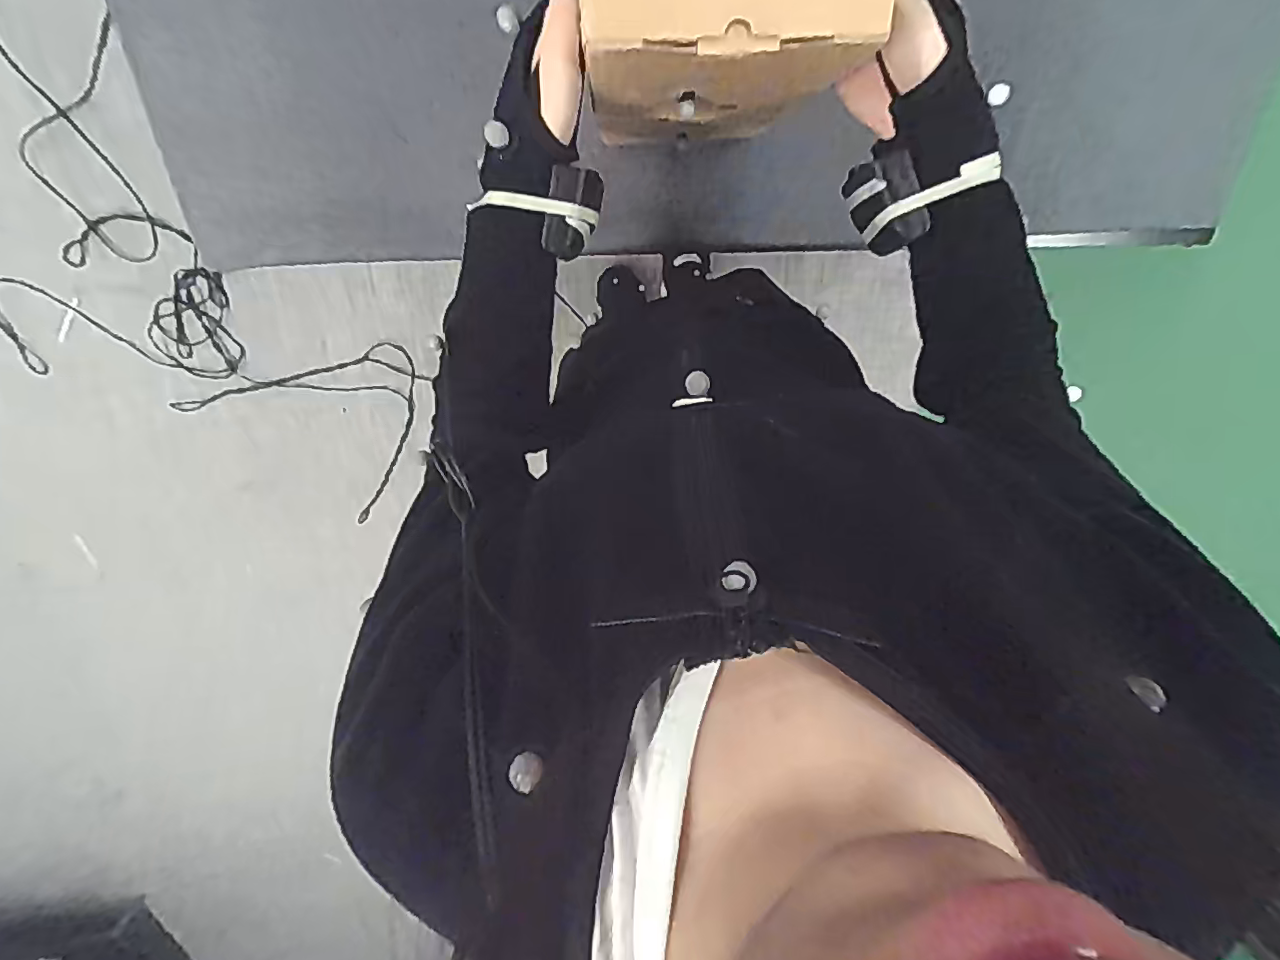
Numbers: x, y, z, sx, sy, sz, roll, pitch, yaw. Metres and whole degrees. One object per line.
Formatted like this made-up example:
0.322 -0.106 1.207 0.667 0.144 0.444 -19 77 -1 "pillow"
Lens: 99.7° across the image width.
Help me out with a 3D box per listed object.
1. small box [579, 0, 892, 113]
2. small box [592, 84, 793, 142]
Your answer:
0.044 -0.344 0.324 0.168 0.176 0.179 -3 113 -1 "small box"
0.039 -0.414 0.476 0.168 0.176 0.179 -2 116 1 "small box"
